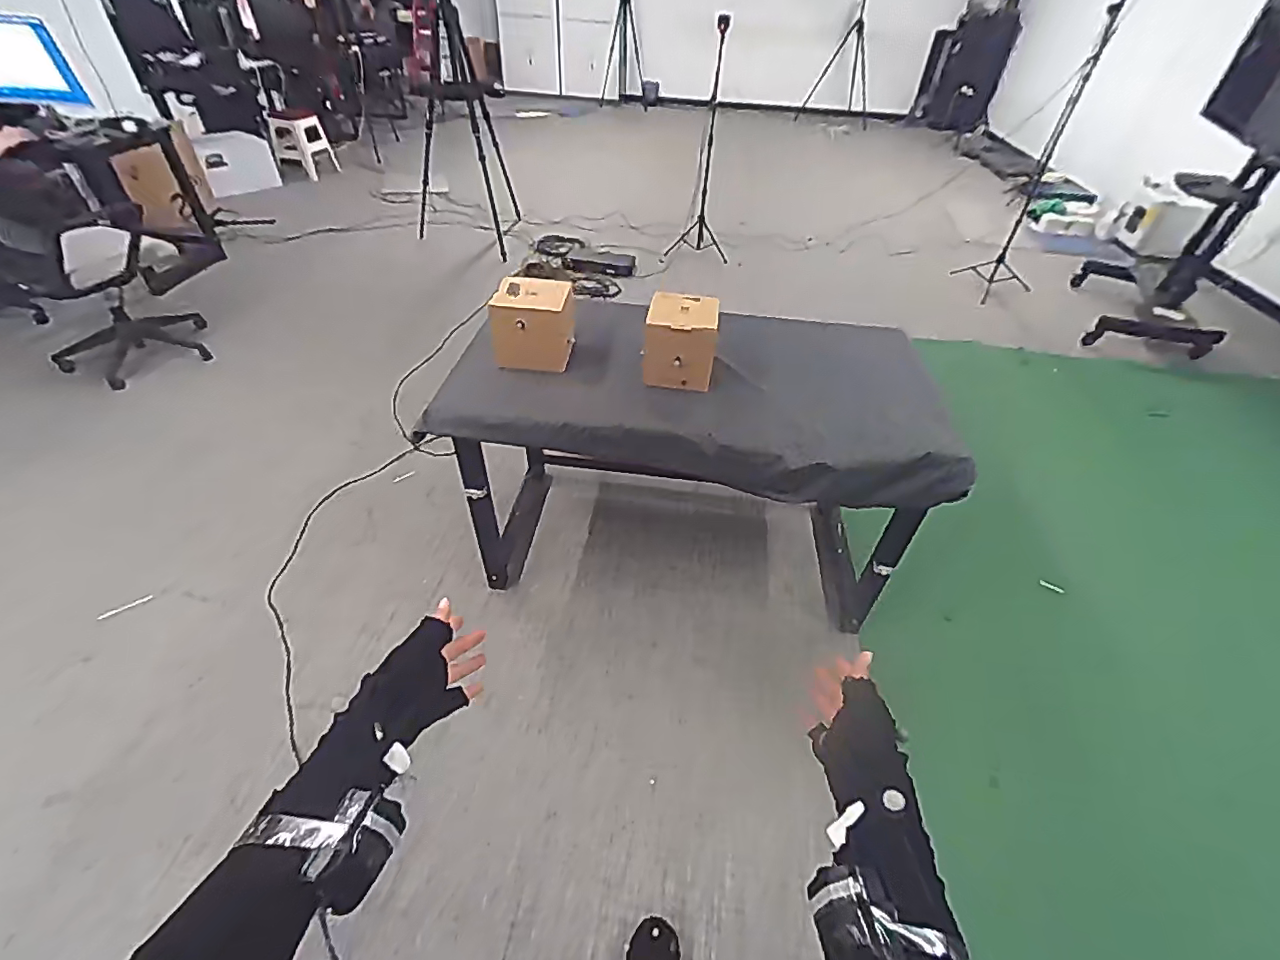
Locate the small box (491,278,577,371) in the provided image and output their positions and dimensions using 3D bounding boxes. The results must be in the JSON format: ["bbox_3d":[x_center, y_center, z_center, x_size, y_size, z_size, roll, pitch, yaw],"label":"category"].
[{"bbox_3d":[-0.260,-0.392,1.367,0.179,0.176,0.168,5,43,1],"label":"small box"}]

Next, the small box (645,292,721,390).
[{"bbox_3d":[0.106,-0.342,1.338,0.168,0.176,0.179,8,44,5],"label":"small box"}]
